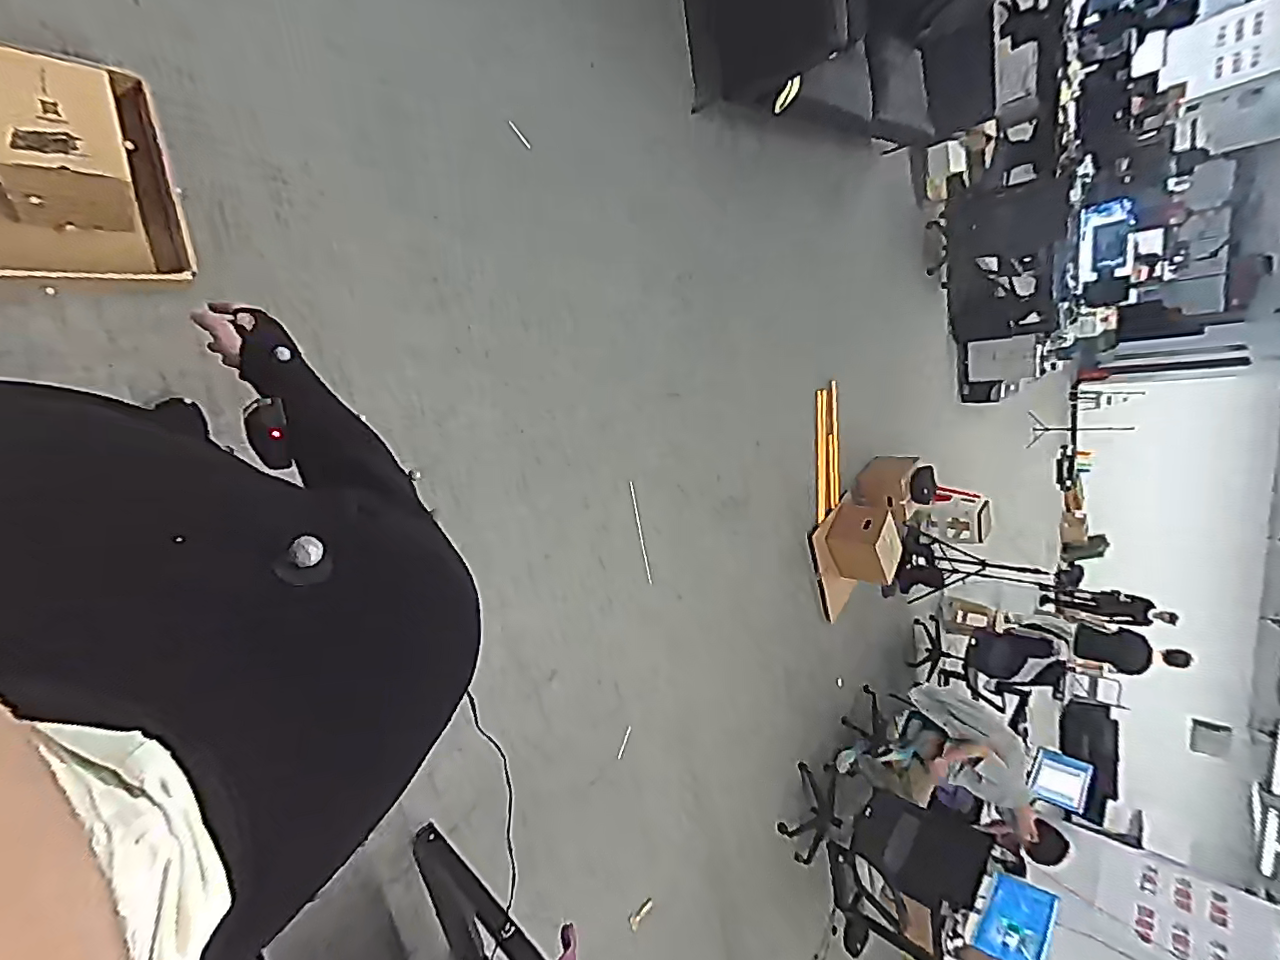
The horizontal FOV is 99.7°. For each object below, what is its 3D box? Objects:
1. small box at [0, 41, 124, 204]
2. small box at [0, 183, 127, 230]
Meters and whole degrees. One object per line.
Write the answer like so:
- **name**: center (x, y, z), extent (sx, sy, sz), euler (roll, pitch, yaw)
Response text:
- **small box**: center (-0.997, -0.589, 0.909), extent (0.168, 0.176, 0.179), euler (-14, 101, -42)
- **small box**: center (-1.111, -0.597, 1.027), extent (0.168, 0.176, 0.179), euler (-17, 104, -42)
